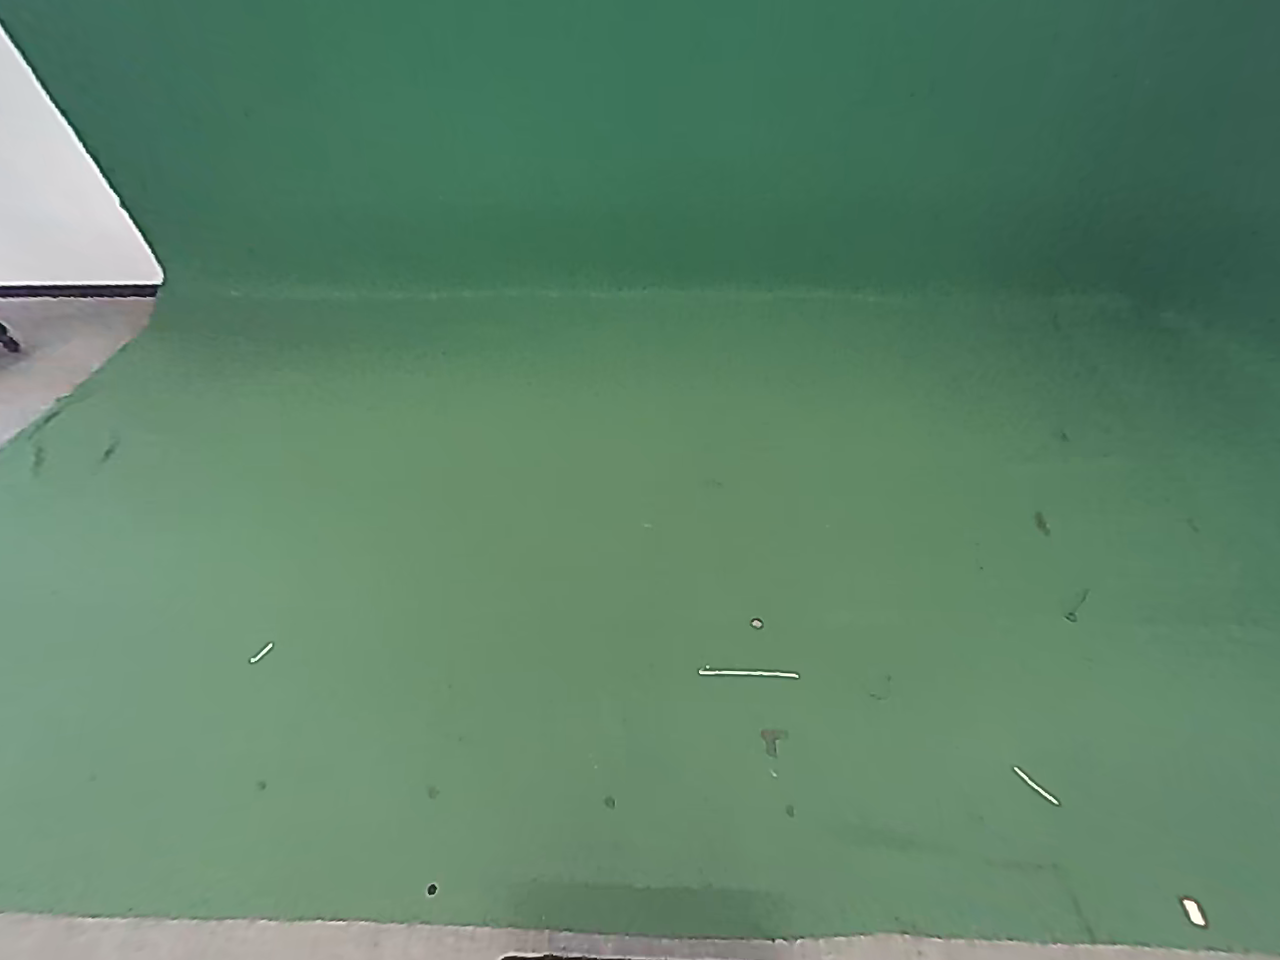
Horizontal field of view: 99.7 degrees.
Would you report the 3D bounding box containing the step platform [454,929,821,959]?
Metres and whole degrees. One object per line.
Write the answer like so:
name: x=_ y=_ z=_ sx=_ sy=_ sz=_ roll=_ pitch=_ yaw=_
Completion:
step platform: x=-0.004 y=1.000 z=0.966 sx=0.684 sy=0.204 sz=0.286 roll=0 pitch=48 yaw=2
